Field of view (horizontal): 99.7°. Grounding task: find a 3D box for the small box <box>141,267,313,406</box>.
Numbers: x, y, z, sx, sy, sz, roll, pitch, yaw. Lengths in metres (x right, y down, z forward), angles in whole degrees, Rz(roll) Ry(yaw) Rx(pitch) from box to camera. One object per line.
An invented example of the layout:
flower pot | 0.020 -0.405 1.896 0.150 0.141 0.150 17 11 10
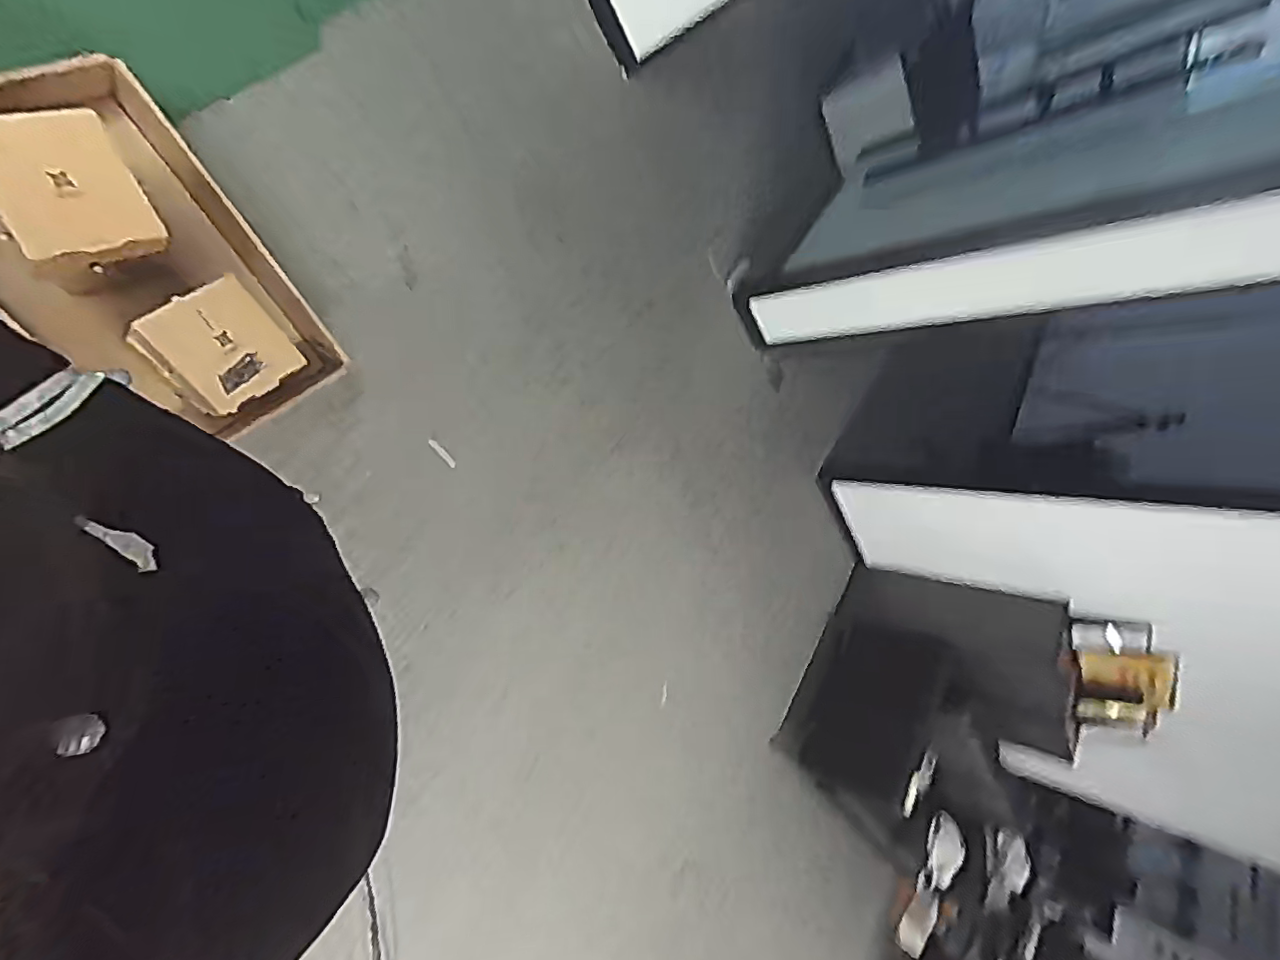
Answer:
small box | -0.730 -0.249 0.964 0.168 0.176 0.179 -47 123 -28

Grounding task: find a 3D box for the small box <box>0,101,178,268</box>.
small box | -0.857 -0.442 0.823 0.168 0.176 0.179 -36 121 -35
